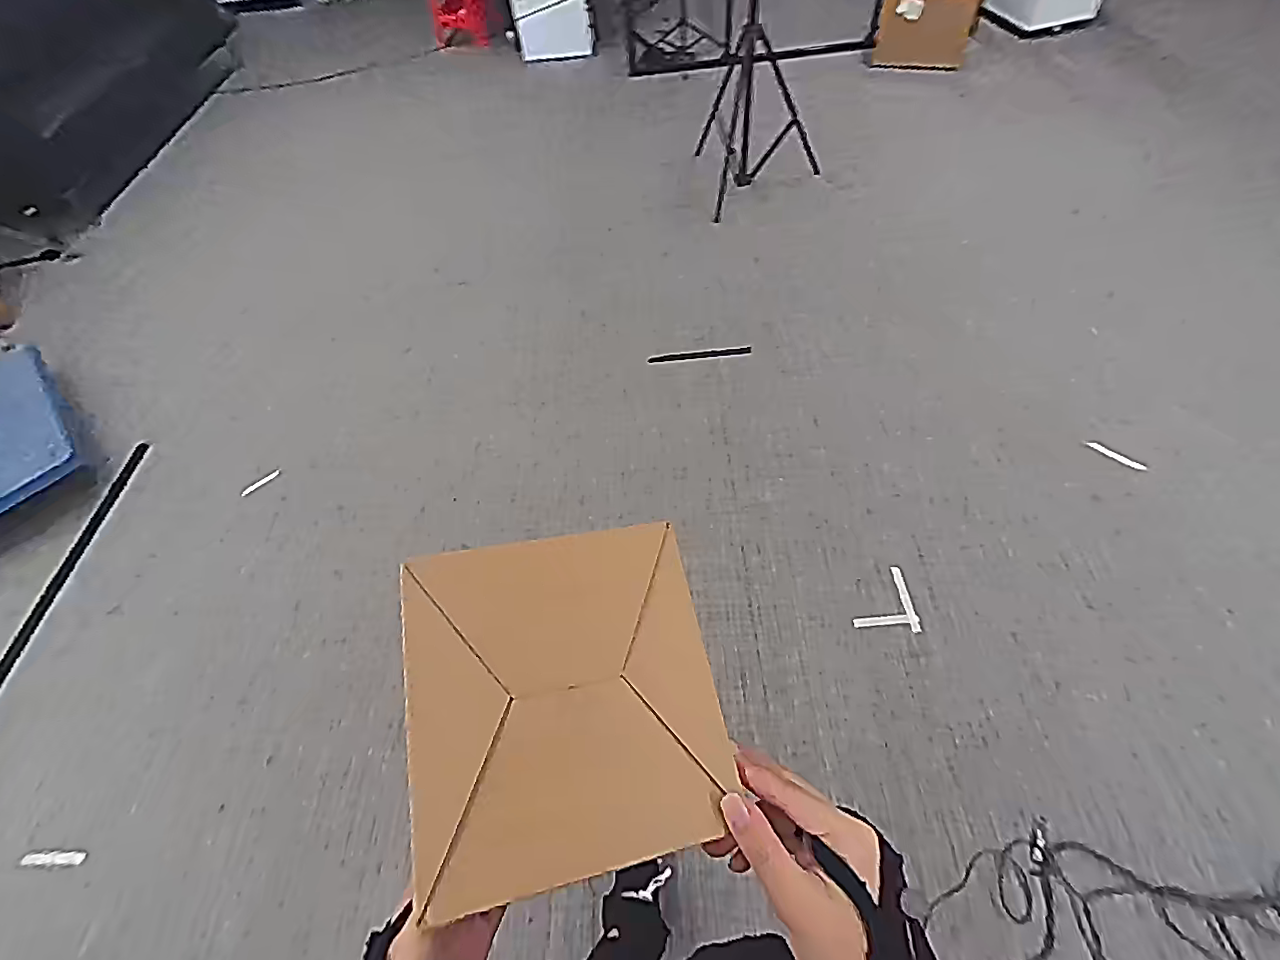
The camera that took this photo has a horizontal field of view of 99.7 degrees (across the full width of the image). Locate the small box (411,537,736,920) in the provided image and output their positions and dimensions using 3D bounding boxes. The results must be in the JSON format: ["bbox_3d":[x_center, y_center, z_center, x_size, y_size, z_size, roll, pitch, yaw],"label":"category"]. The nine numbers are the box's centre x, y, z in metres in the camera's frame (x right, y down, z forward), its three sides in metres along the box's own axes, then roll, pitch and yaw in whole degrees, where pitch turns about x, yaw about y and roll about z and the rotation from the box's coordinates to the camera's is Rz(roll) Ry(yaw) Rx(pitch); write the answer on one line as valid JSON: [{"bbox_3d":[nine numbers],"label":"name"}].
[{"bbox_3d":[-0.052,0.153,0.368,0.168,0.176,0.179,-7,64,-15],"label":"small box"}]
